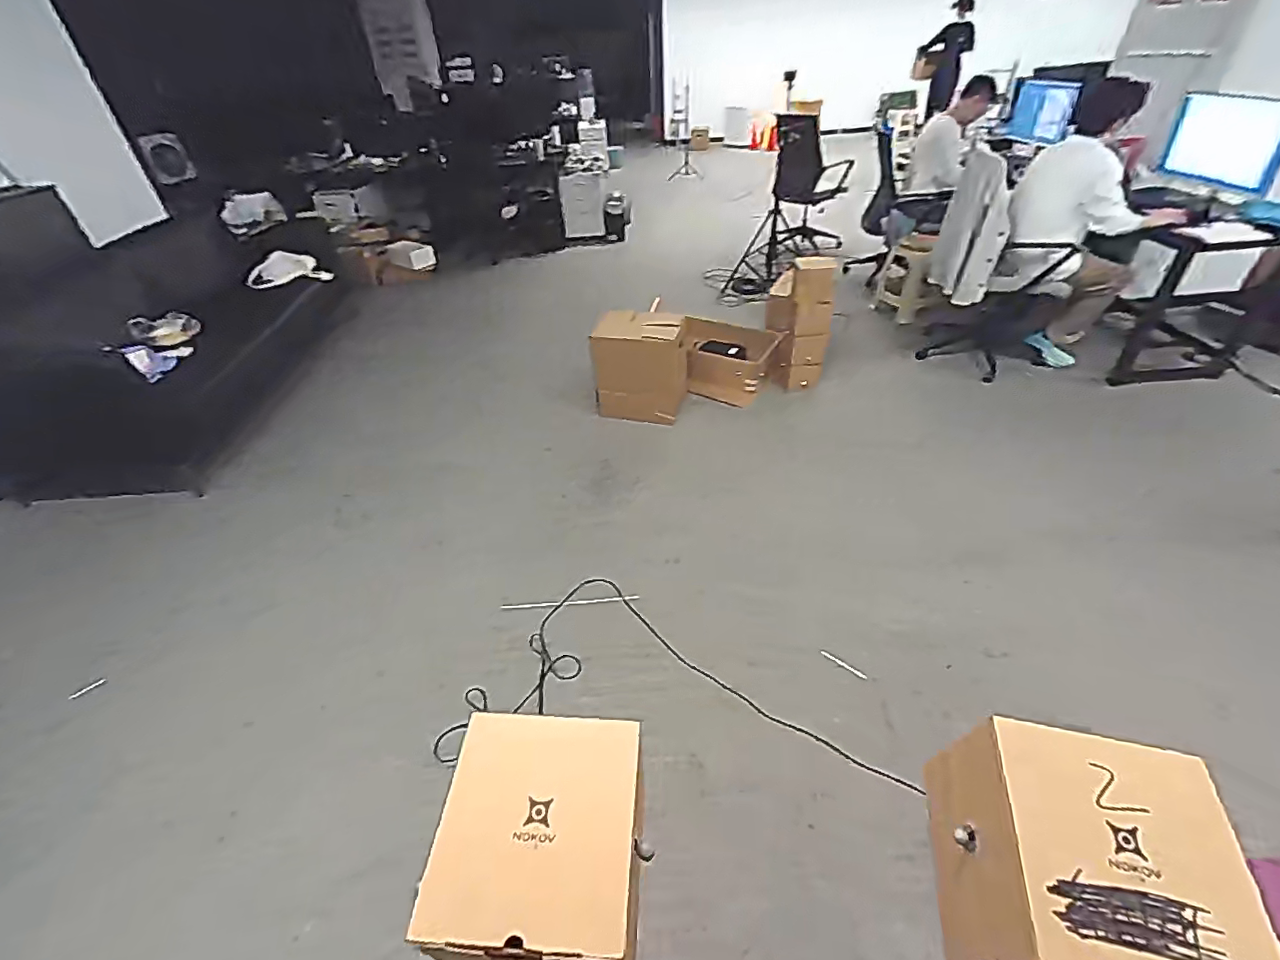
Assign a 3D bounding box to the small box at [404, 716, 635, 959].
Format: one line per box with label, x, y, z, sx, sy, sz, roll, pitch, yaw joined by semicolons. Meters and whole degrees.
small box;-0.093;0.352;0.517;0.168;0.176;0.179;2;43;3
